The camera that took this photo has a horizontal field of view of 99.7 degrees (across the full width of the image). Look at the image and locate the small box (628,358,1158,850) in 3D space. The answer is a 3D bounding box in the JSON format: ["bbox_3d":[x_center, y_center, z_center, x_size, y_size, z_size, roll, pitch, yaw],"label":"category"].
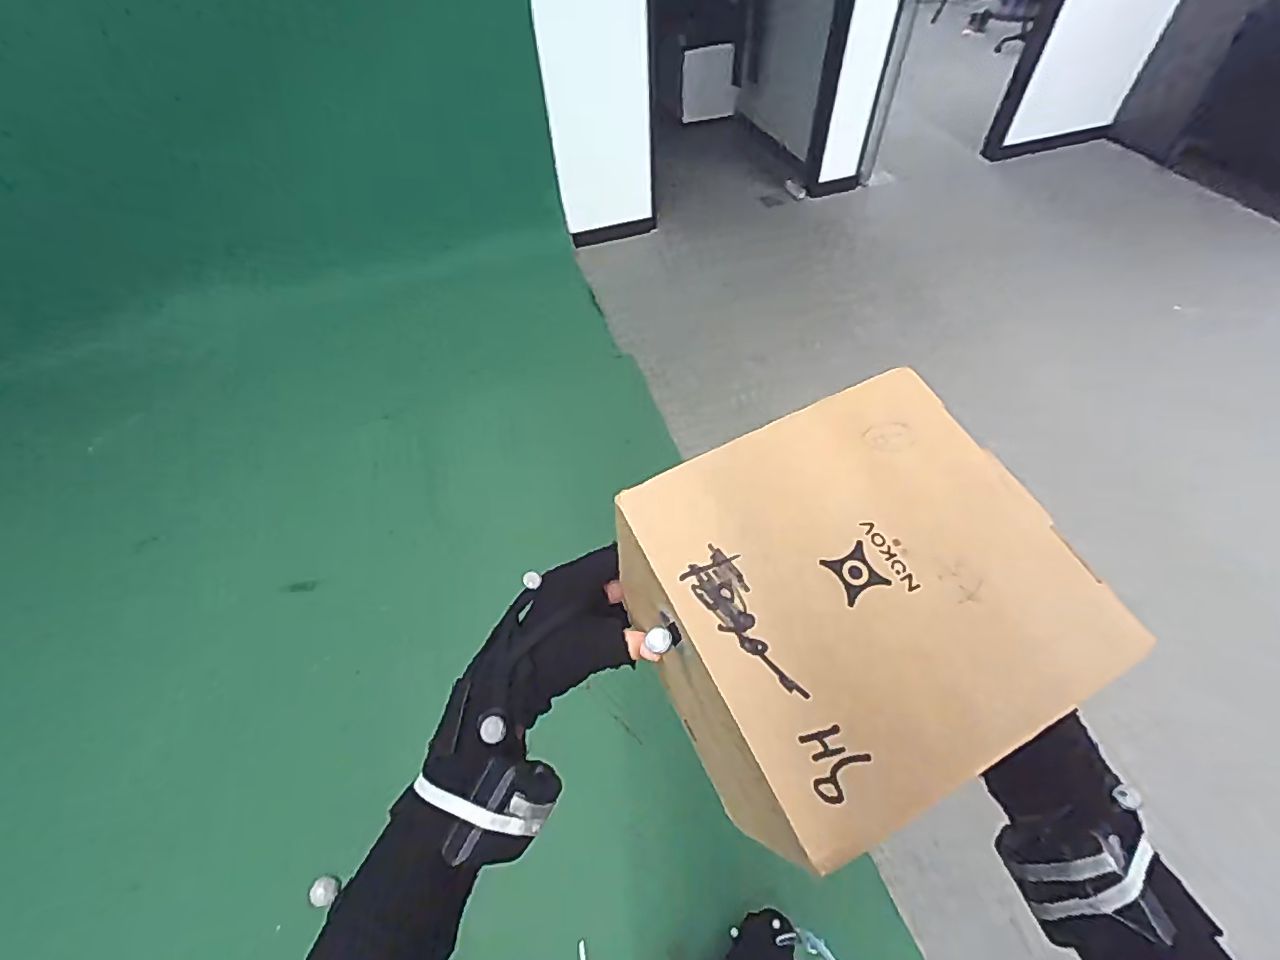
[{"bbox_3d":[0.102,0.068,0.307,0.179,0.176,0.168,-23,65,-13],"label":"small box"}]
